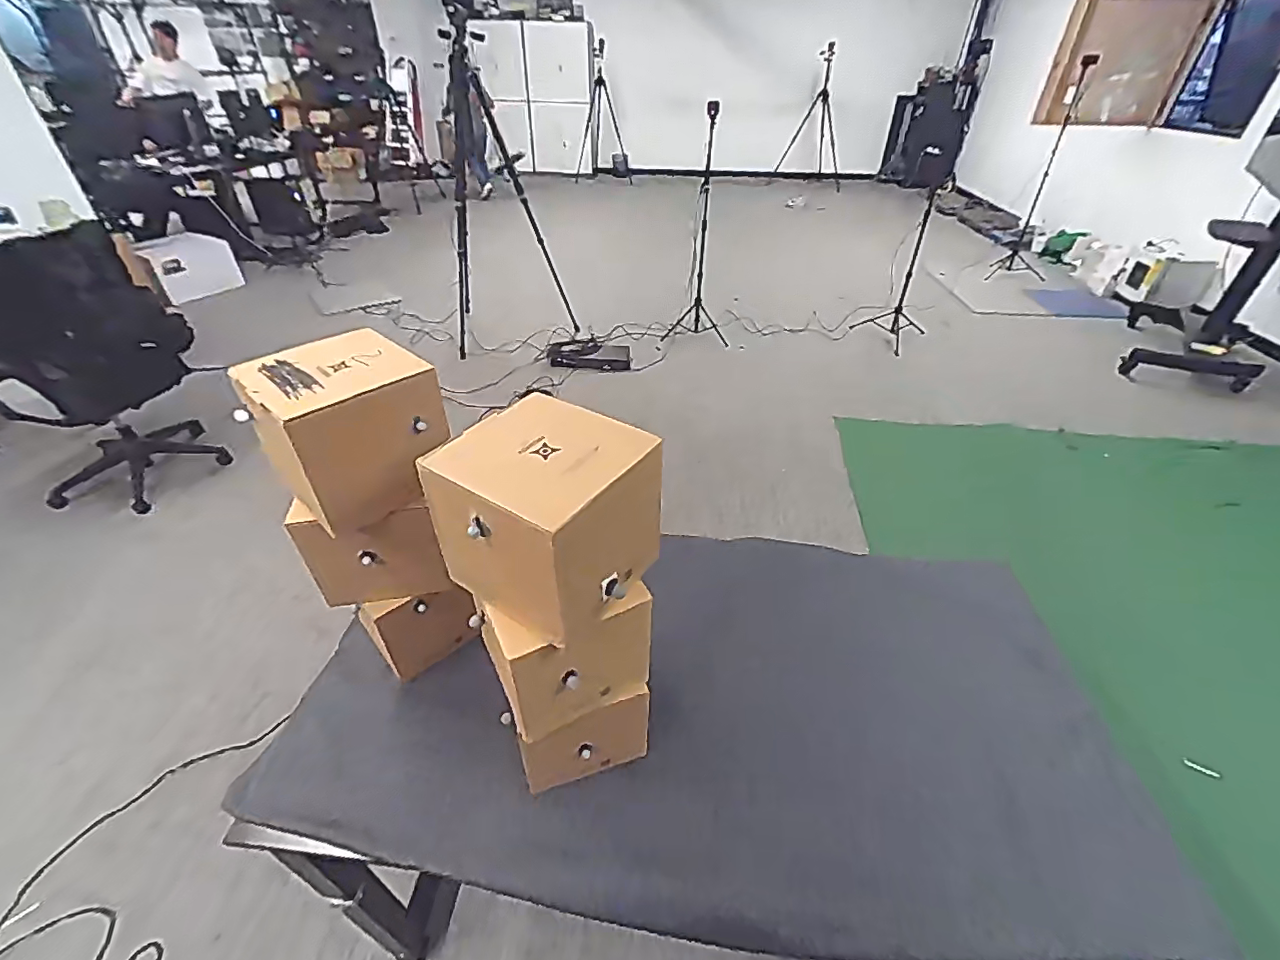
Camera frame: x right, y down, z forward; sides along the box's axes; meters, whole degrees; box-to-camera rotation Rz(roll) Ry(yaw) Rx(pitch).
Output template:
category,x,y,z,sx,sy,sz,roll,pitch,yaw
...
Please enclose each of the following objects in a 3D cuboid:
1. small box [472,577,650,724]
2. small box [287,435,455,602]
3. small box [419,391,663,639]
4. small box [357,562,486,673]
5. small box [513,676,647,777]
category,x,y,z,sx,sy,sz,roll,pitch,yaw
small box,-0.098,0.166,0.661,0.168,0.176,0.179,-19,42,-23
small box,-0.371,0.055,0.795,0.179,0.176,0.168,-8,40,-9
small box,-0.093,0.033,0.567,0.179,0.176,0.168,23,45,26
small box,-0.371,0.182,0.901,0.168,0.176,0.179,-30,48,-33
small box,-0.092,0.290,0.766,0.168,0.176,0.179,-11,39,-15
